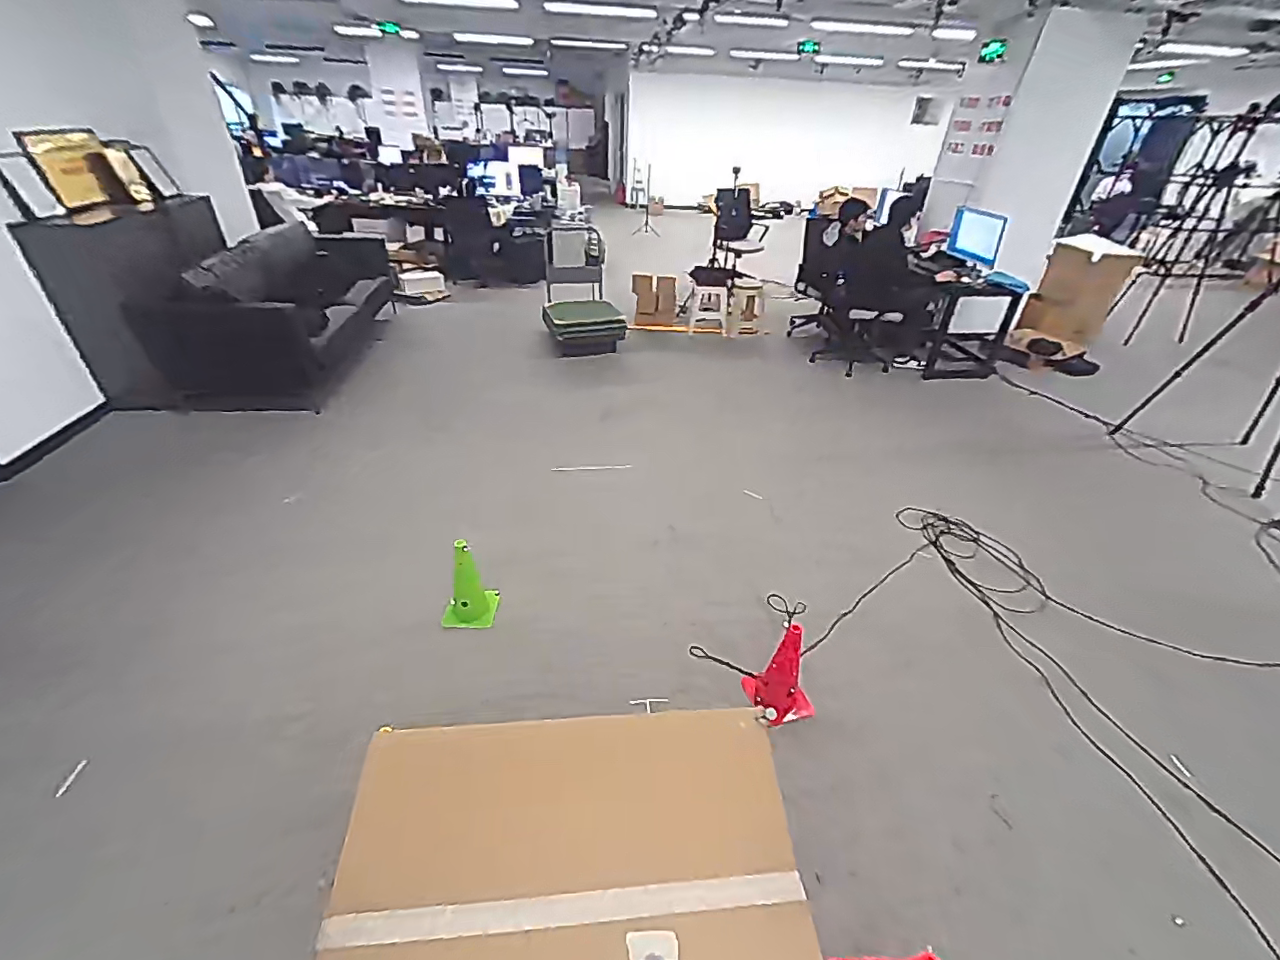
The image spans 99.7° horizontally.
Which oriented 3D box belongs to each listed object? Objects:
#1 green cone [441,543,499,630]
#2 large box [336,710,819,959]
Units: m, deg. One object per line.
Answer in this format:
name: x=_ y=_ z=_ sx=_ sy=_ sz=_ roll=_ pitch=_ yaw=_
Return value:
green cone: x=-0.685 y=0.390 z=2.106 sx=0.200 sy=0.368 sz=0.202 roll=1 pitch=35 yaw=-1
large box: x=-0.060 y=0.471 z=0.577 sx=0.408 sy=0.320 sz=0.320 roll=-1 pitch=48 yaw=-5
